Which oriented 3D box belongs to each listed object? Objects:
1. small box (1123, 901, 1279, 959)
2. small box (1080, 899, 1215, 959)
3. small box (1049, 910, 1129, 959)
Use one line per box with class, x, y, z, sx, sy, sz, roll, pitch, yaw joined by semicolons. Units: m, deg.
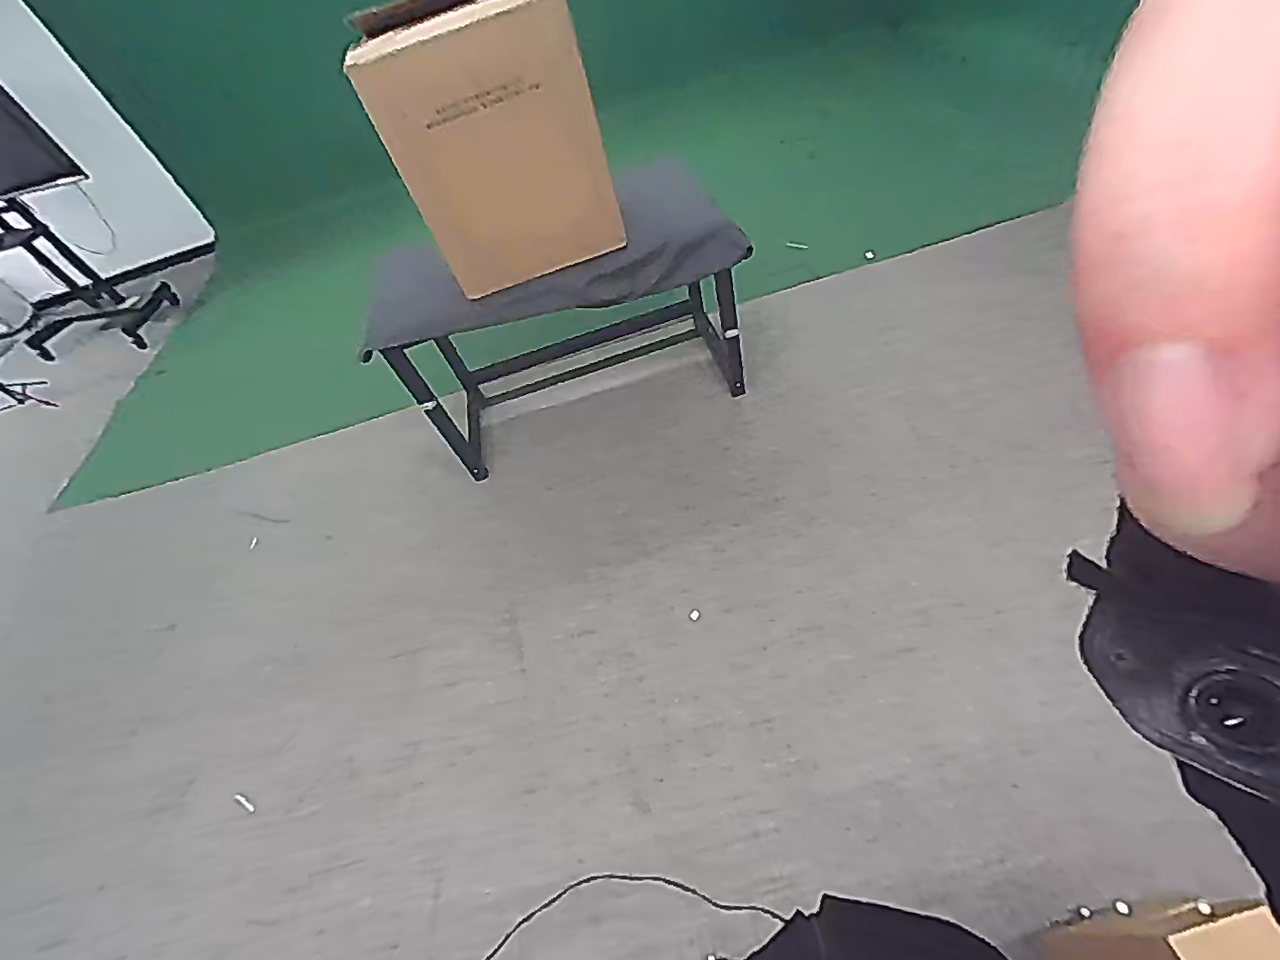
small box;0.823;0.688;0.727;0.179;0.176;0.168;-18;49;0
small box;0.858;0.790;0.849;0.168;0.176;0.179;-20;48;-1
small box;0.894;0.898;0.968;0.168;0.176;0.179;-19;47;-1
